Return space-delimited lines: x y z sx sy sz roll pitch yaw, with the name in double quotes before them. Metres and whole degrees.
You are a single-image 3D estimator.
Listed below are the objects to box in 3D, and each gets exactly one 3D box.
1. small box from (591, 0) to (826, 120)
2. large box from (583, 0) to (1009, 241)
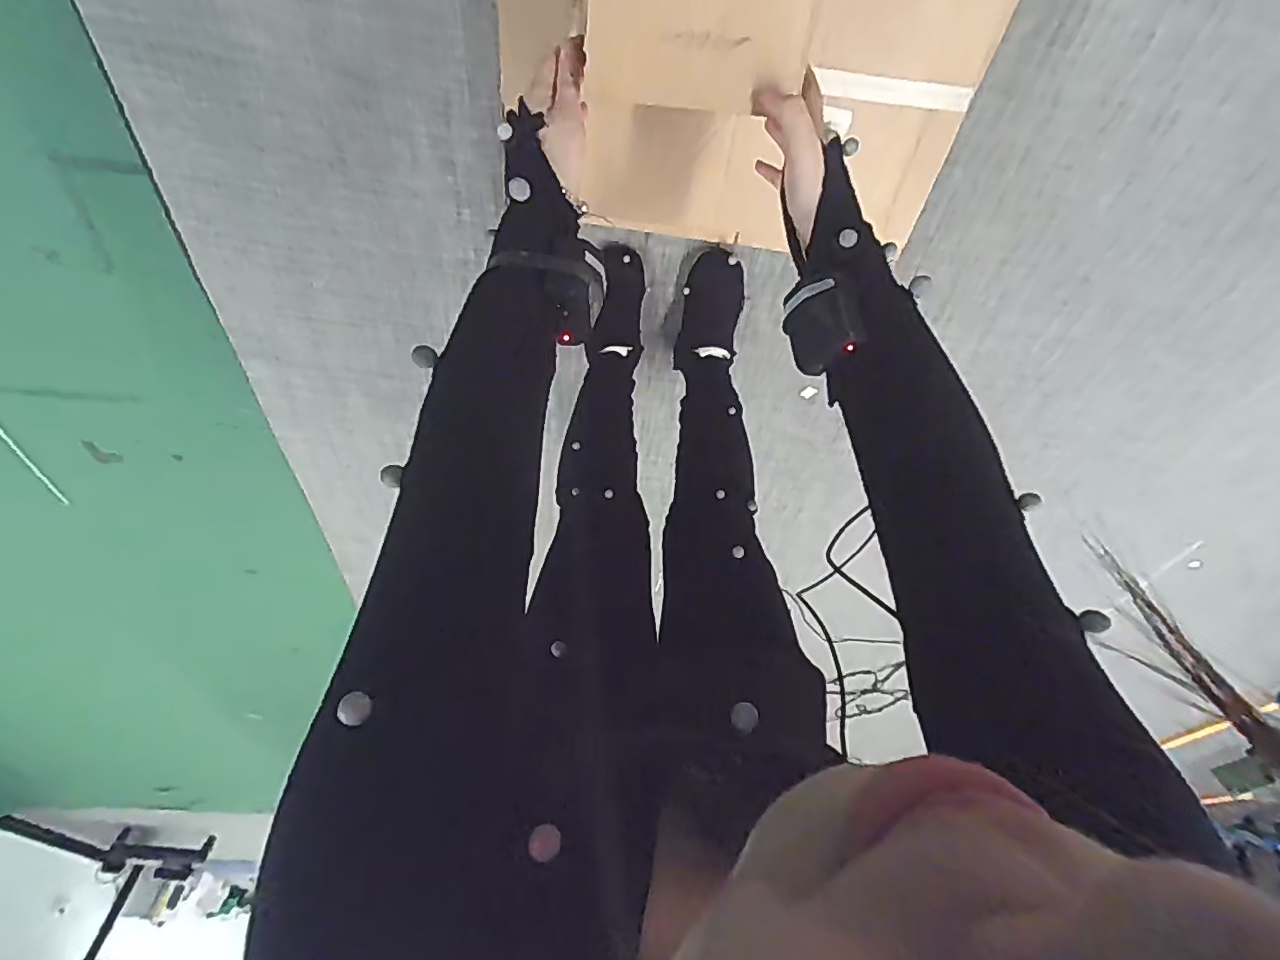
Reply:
"small box" 0.050 -0.405 0.421 0.168 0.176 0.179 3 134 -3
"large box" 0.139 -0.515 0.652 0.408 0.320 0.320 4 134 -5
